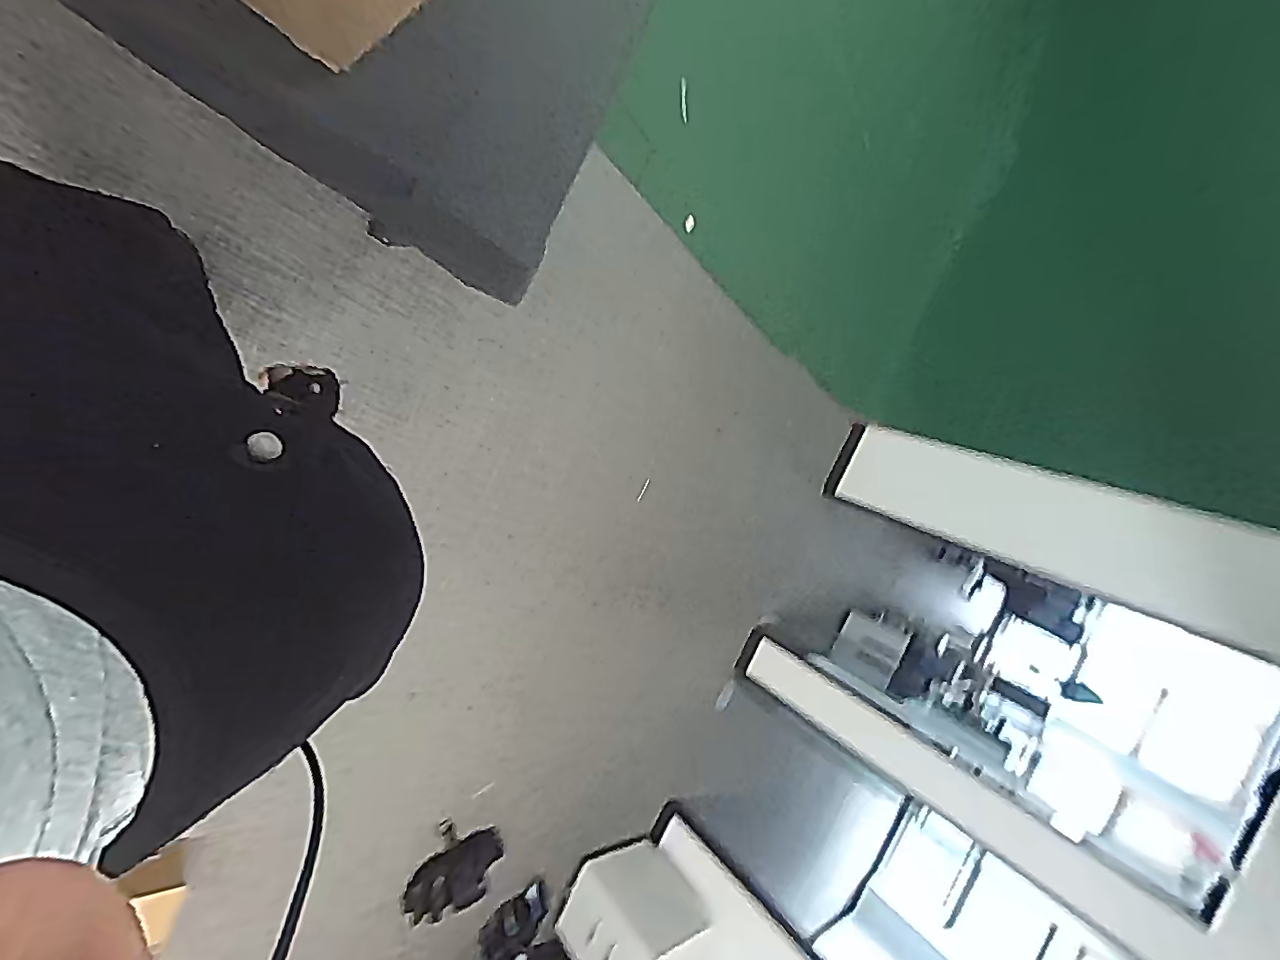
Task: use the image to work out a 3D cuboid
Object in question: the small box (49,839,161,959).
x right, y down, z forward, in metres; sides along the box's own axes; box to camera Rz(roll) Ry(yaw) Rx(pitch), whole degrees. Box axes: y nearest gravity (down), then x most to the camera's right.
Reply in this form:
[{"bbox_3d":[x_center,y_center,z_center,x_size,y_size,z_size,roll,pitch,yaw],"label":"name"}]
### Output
[{"bbox_3d":[-1.378,1.081,1.396,0.168,0.176,0.179,21,93,-49],"label":"small box"}]
